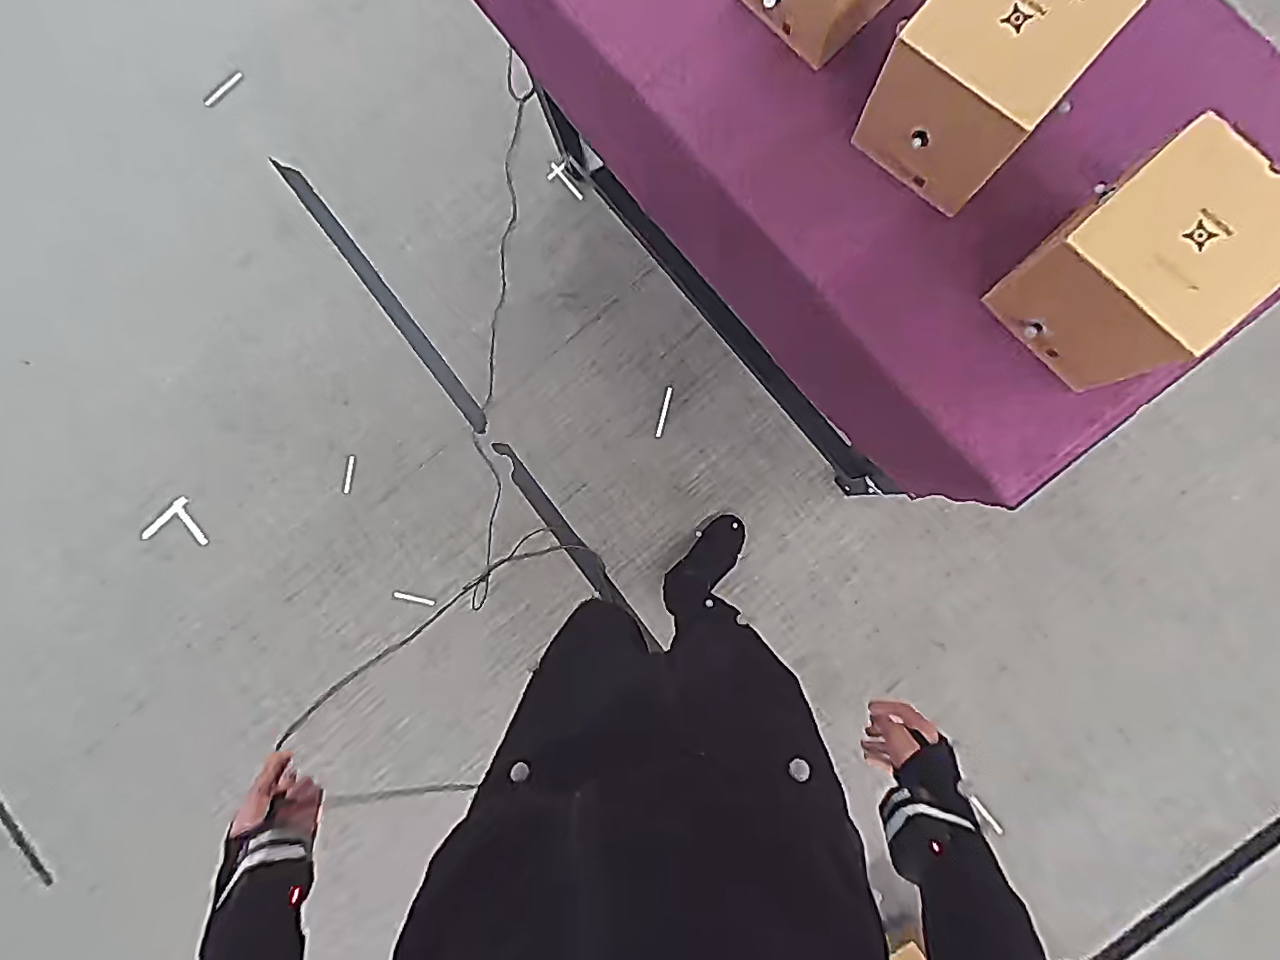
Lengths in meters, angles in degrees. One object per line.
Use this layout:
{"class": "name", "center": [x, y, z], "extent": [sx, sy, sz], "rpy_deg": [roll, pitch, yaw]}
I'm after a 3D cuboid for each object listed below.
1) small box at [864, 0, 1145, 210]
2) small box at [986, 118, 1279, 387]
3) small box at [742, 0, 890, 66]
{"class": "small box", "center": [0.384, -0.454, 0.614], "extent": [0.168, 0.176, 0.179], "rpy_deg": [42, 92, 5]}
{"class": "small box", "center": [0.536, -0.229, 0.593], "extent": [0.179, 0.176, 0.168], "rpy_deg": [-43, 84, 2]}
{"class": "small box", "center": [0.234, -0.658, 0.635], "extent": [0.179, 0.176, 0.168], "rpy_deg": [-43, 85, 4]}
